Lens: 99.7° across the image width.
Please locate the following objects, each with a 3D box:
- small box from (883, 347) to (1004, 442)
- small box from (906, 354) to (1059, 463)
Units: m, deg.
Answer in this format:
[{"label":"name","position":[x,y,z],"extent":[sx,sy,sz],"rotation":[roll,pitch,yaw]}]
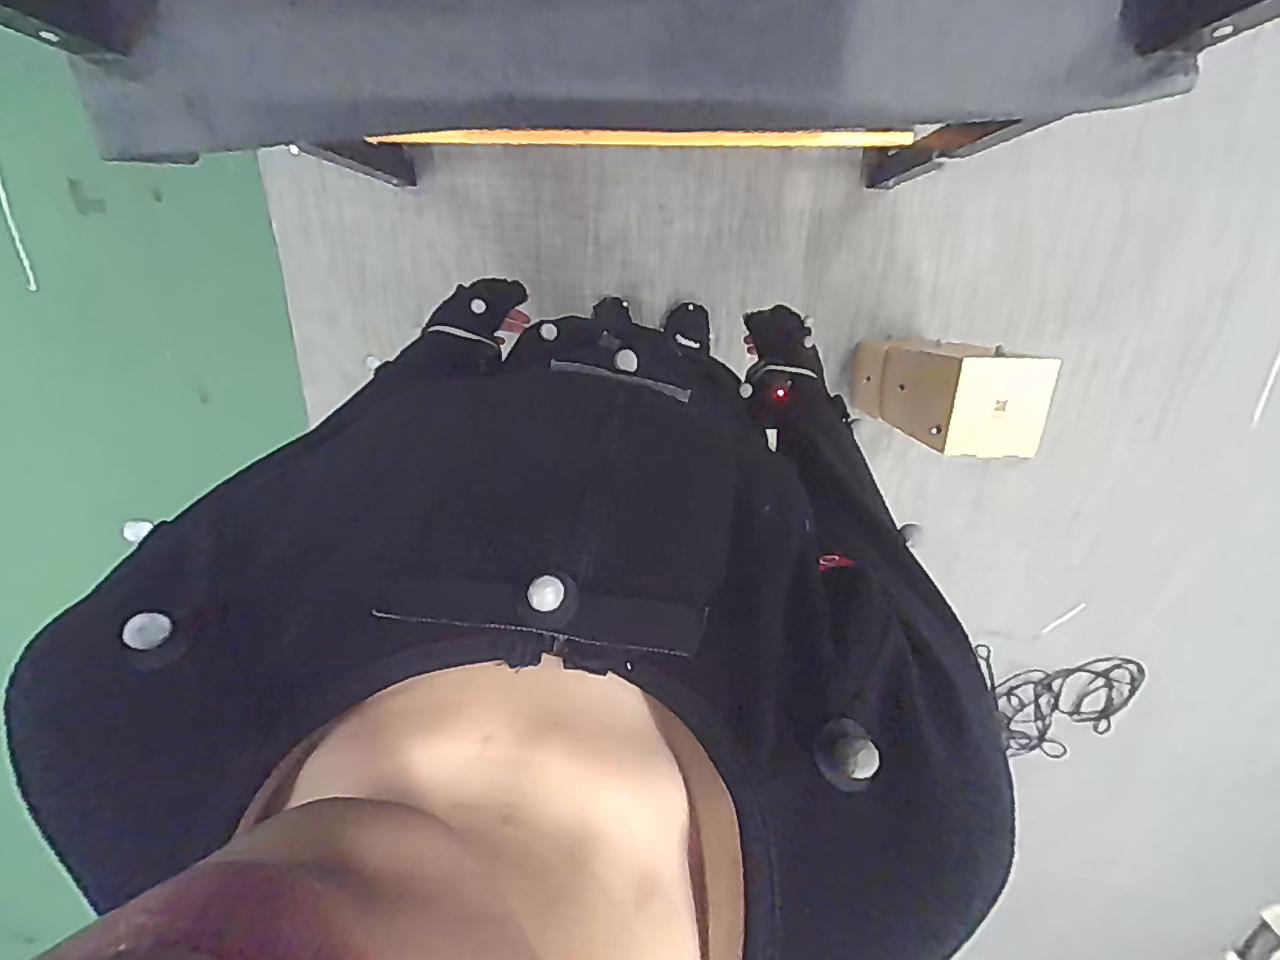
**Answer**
[{"label":"small box","position":[0.642,-0.188,1.165],"extent":[0.168,0.176,0.179],"rotation":[-1,108,3]},{"label":"small box","position":[0.623,-0.140,1.009],"extent":[0.168,0.176,0.179],"rotation":[1,110,2]}]
